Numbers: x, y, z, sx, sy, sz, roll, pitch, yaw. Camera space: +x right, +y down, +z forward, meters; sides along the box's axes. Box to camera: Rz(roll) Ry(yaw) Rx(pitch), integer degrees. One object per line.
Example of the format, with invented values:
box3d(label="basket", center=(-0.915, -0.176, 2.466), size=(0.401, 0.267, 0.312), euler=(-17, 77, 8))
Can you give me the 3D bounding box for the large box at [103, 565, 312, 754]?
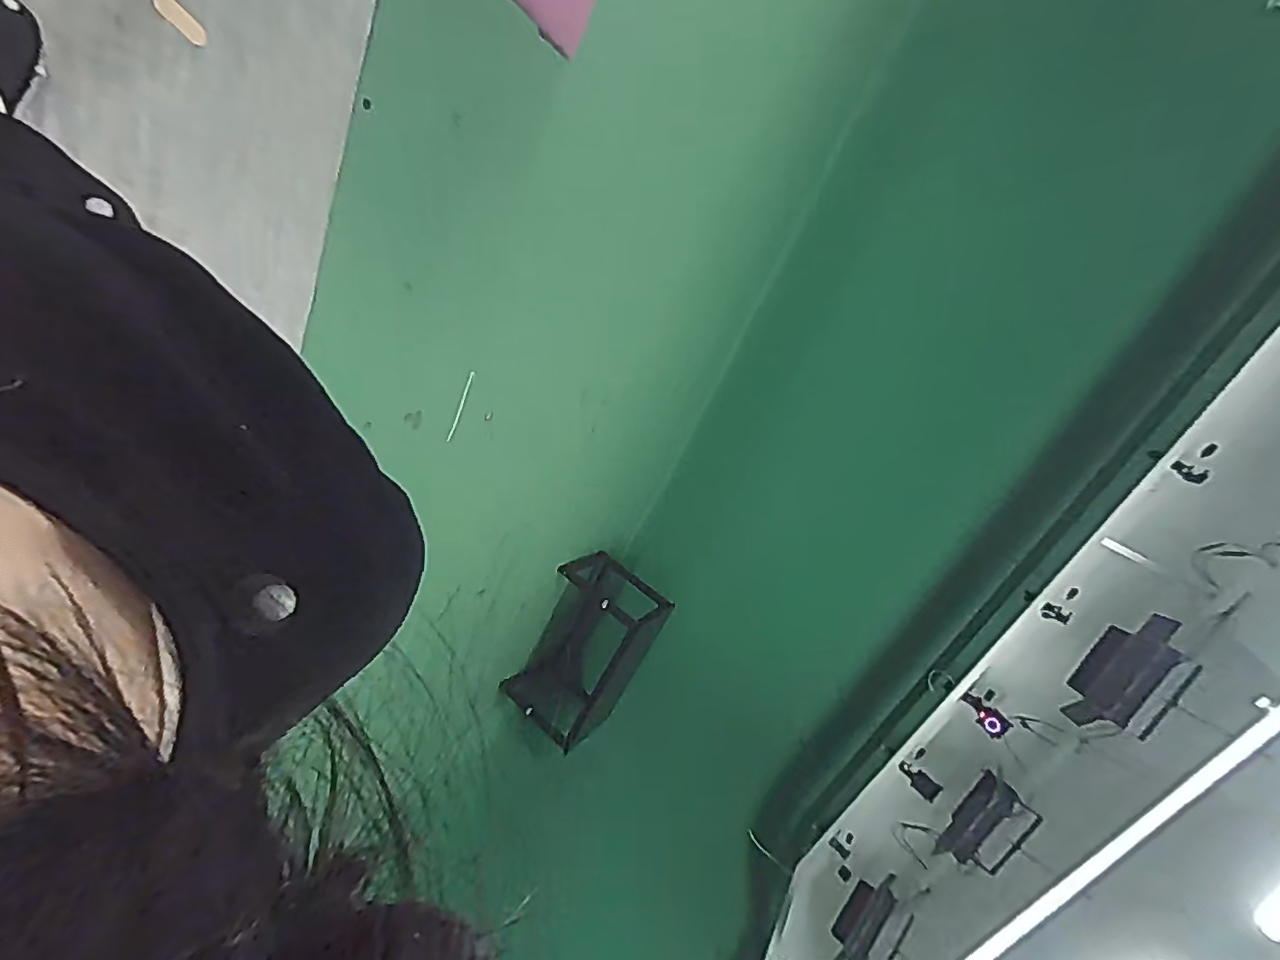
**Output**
box3d(label="large box", center=(-1.325, 0.542, 1.695), size=(0.408, 0.320, 0.320), euler=(-30, 148, -49))
